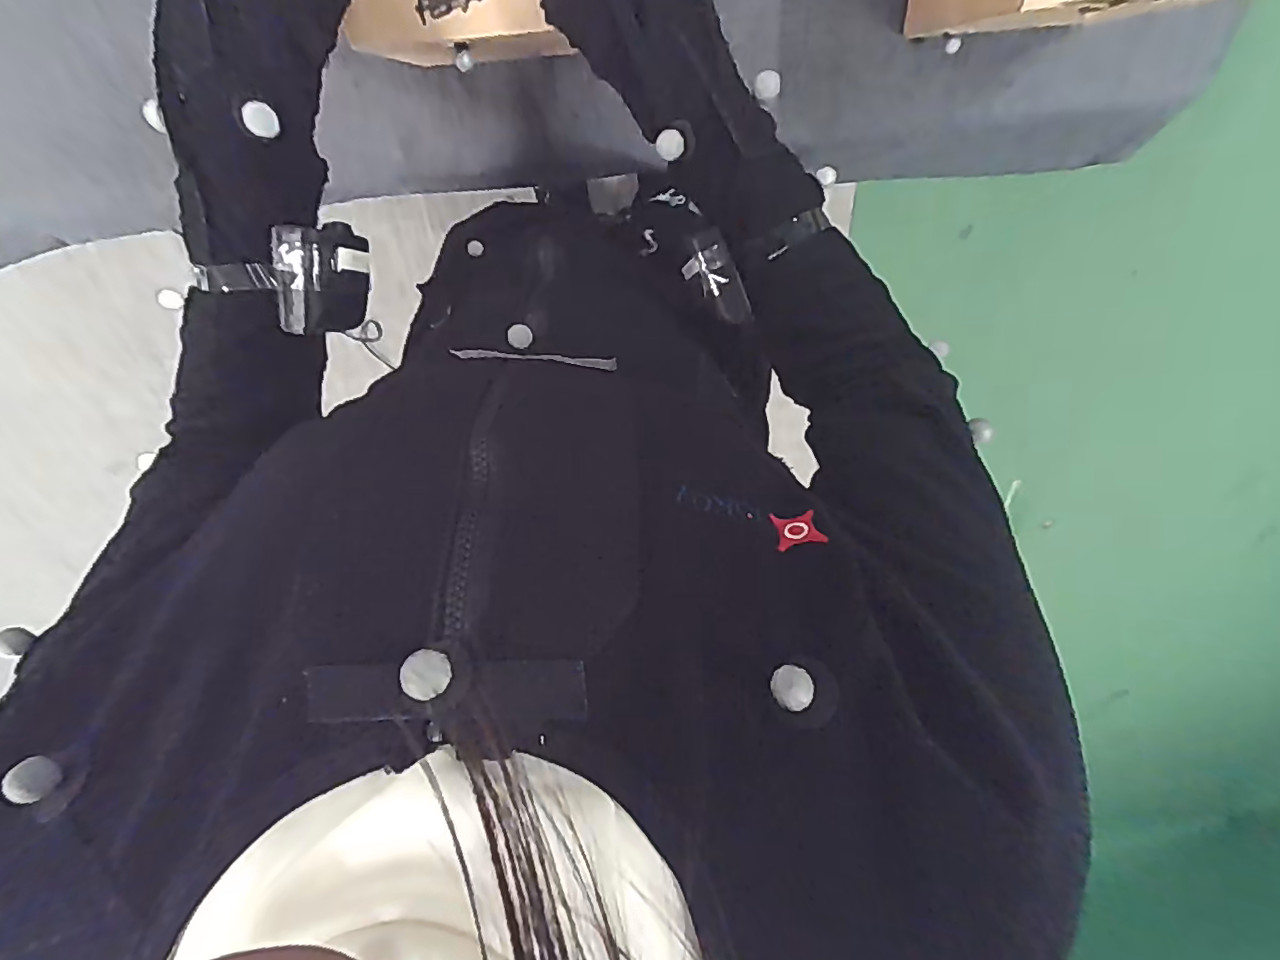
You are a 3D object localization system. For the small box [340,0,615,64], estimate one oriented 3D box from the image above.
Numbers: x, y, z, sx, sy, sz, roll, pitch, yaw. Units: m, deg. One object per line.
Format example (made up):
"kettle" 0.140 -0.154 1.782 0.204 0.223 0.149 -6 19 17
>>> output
"small box" -0.109 -0.391 0.352 0.168 0.176 0.179 -6 126 -1

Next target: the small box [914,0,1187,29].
"small box" 0.311 -0.425 0.363 0.168 0.176 0.179 -6 124 -1
